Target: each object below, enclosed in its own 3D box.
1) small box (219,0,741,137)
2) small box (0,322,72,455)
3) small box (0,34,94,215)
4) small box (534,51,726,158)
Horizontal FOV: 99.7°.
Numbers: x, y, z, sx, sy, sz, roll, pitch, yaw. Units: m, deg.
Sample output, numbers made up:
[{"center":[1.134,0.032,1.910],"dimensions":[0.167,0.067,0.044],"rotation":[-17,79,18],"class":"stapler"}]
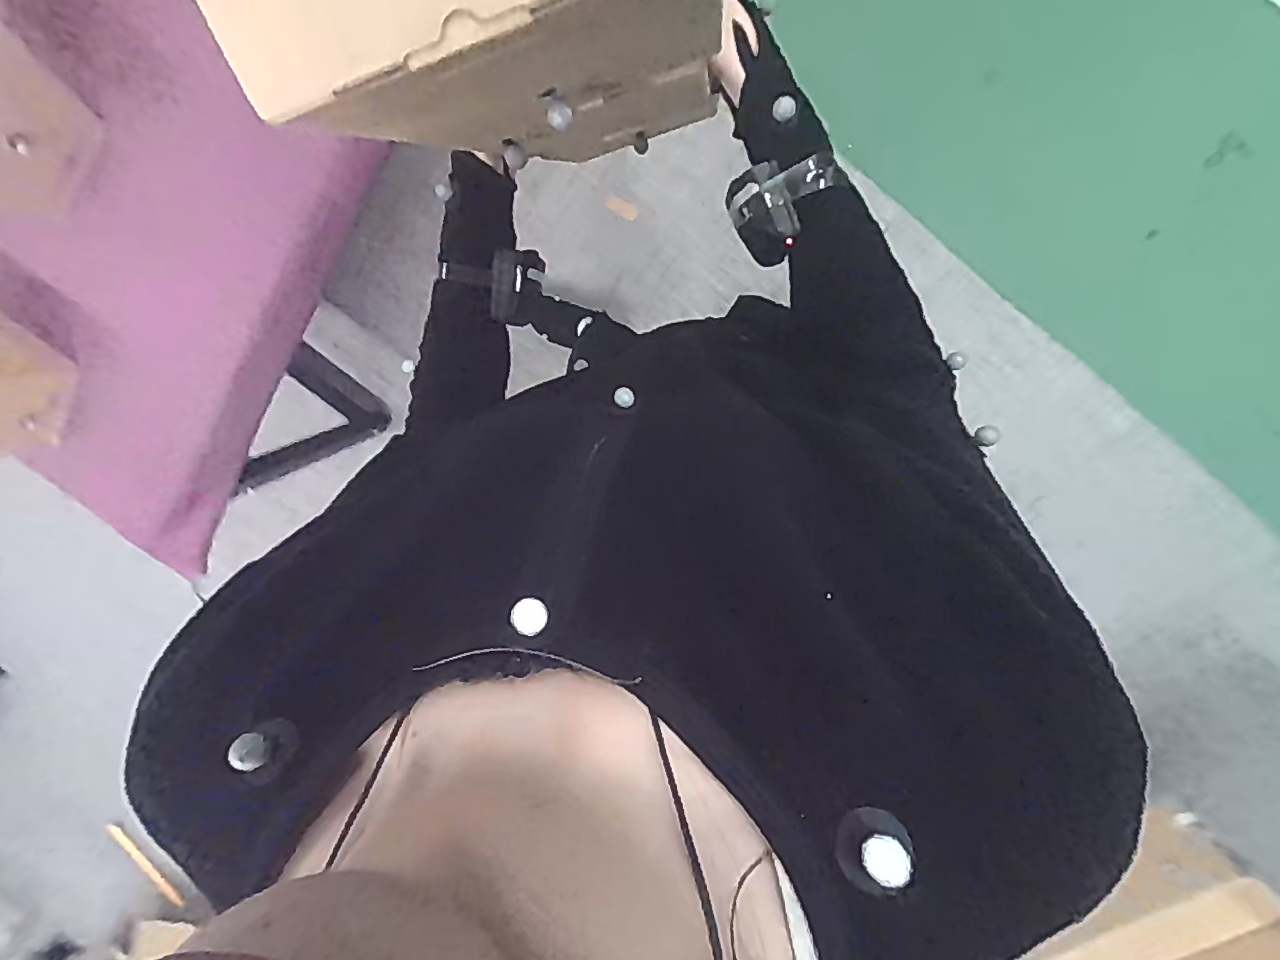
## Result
[{"center":[-0.058,-0.252,0.199],"dimensions":[0.168,0.176,0.179],"rotation":[-9,117,14],"class":"small box"},{"center":[-1.011,-0.137,0.787],"dimensions":[0.179,0.176,0.168],"rotation":[38,110,-6],"class":"small box"},{"center":[-0.837,-0.446,0.651],"dimensions":[0.168,0.176,0.179],"rotation":[-39,100,18],"class":"small box"},{"center":[-0.018,-0.410,0.484],"dimensions":[0.168,0.176,0.179],"rotation":[-11,117,14],"class":"small box"}]
